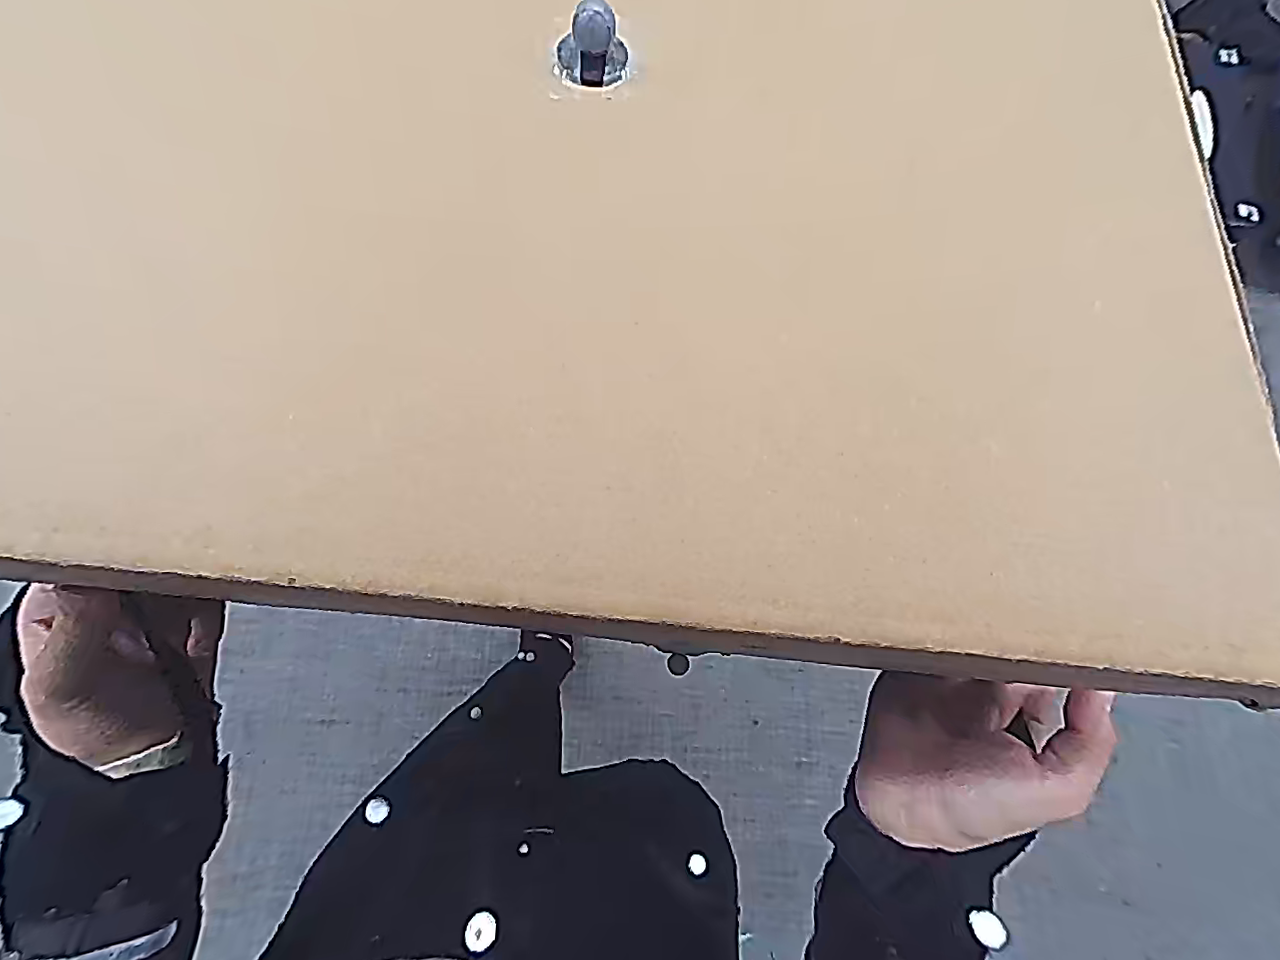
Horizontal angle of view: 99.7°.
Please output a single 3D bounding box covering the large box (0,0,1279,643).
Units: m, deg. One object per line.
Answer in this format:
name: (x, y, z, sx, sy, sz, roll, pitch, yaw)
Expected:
large box: (-0.026, -0.090, 0.311, 0.408, 0.320, 0.320, 6, 75, -1)
